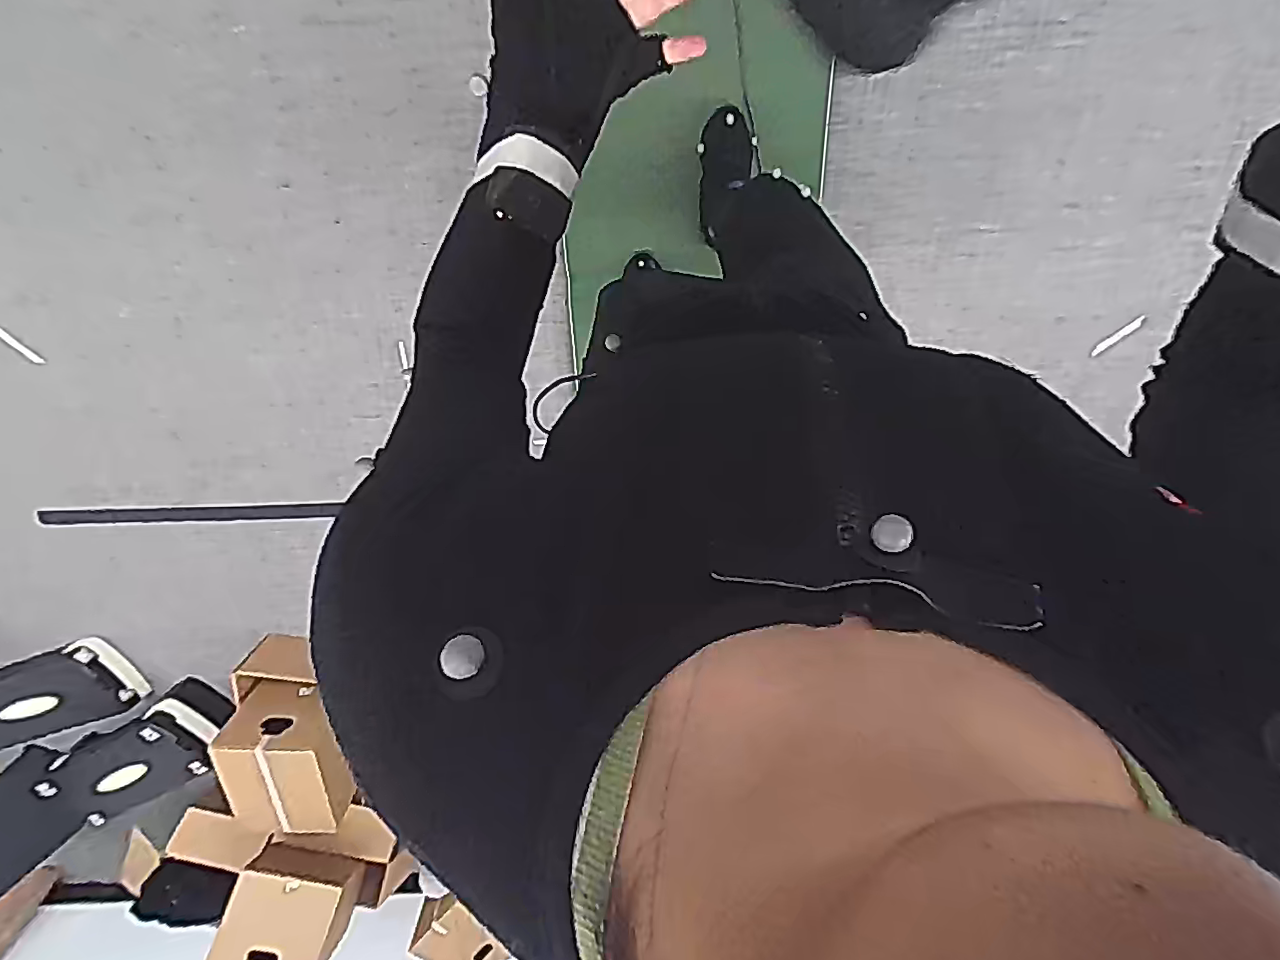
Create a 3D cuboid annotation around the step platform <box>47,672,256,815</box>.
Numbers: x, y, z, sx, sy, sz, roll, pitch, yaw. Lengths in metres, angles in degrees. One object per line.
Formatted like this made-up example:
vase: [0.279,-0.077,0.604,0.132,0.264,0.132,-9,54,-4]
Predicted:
step platform: [-1.788,0.973,1.983,0.684,0.204,0.286,-29,113,12]
